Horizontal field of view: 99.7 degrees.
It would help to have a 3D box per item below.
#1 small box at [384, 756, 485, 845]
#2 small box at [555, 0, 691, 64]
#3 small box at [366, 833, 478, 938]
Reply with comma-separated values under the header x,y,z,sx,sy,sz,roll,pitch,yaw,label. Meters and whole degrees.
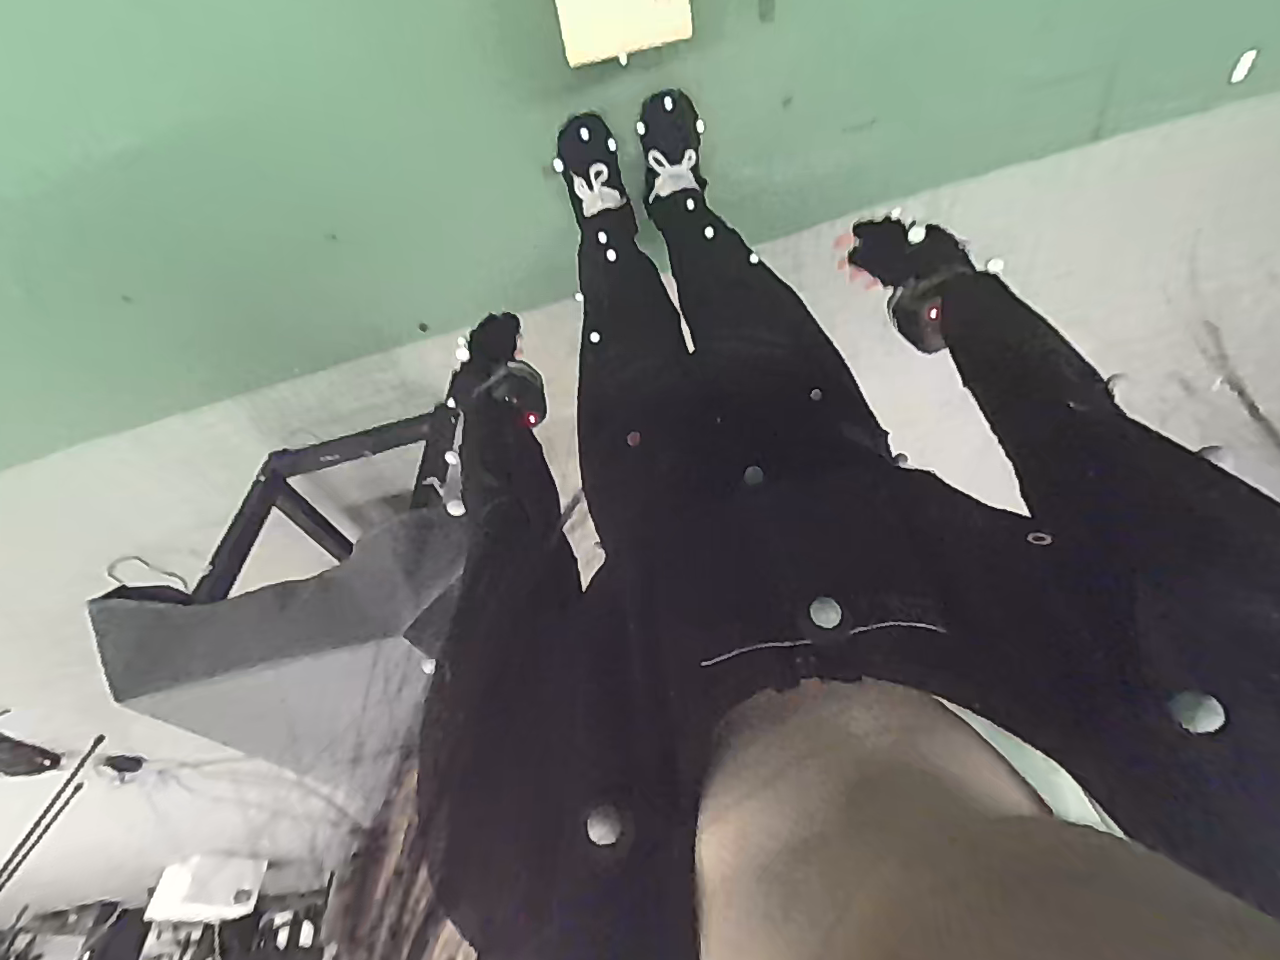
x,y,z,sx,sy,sz,roll,pitch,yaw,label
-0.515,0.832,1.383,0.179,0.176,0.168,-14,135,5,small box
-0.034,-0.699,0.743,0.179,0.176,0.168,-12,134,3,small box
-0.502,0.949,1.270,0.168,0.176,0.179,-15,135,8,small box
